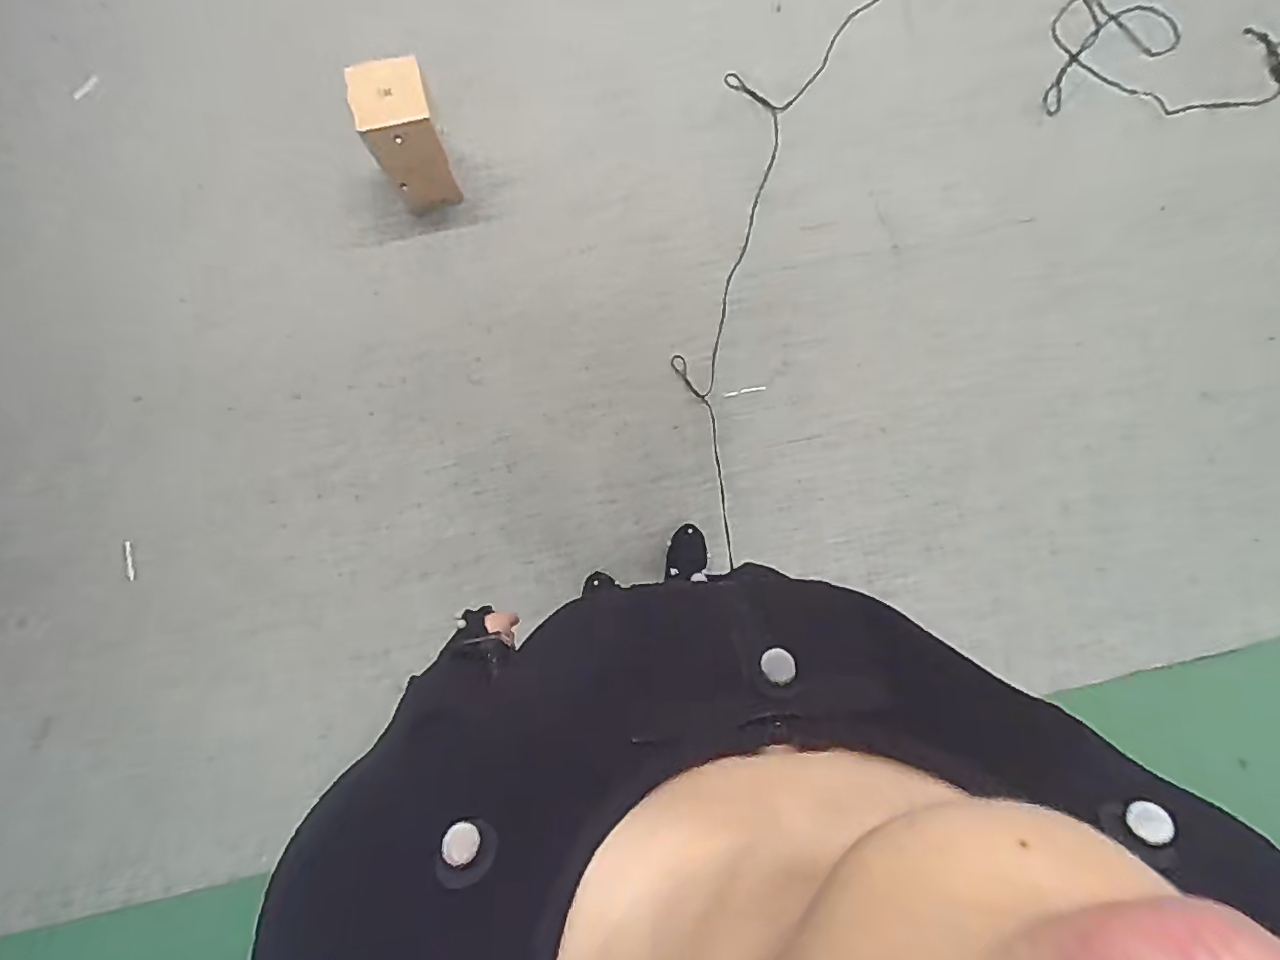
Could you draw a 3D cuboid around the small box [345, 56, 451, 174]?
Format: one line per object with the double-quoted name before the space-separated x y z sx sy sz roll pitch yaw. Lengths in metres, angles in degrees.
"small box" -0.598 -0.901 1.350 0.179 0.176 0.168 -14 85 -4
